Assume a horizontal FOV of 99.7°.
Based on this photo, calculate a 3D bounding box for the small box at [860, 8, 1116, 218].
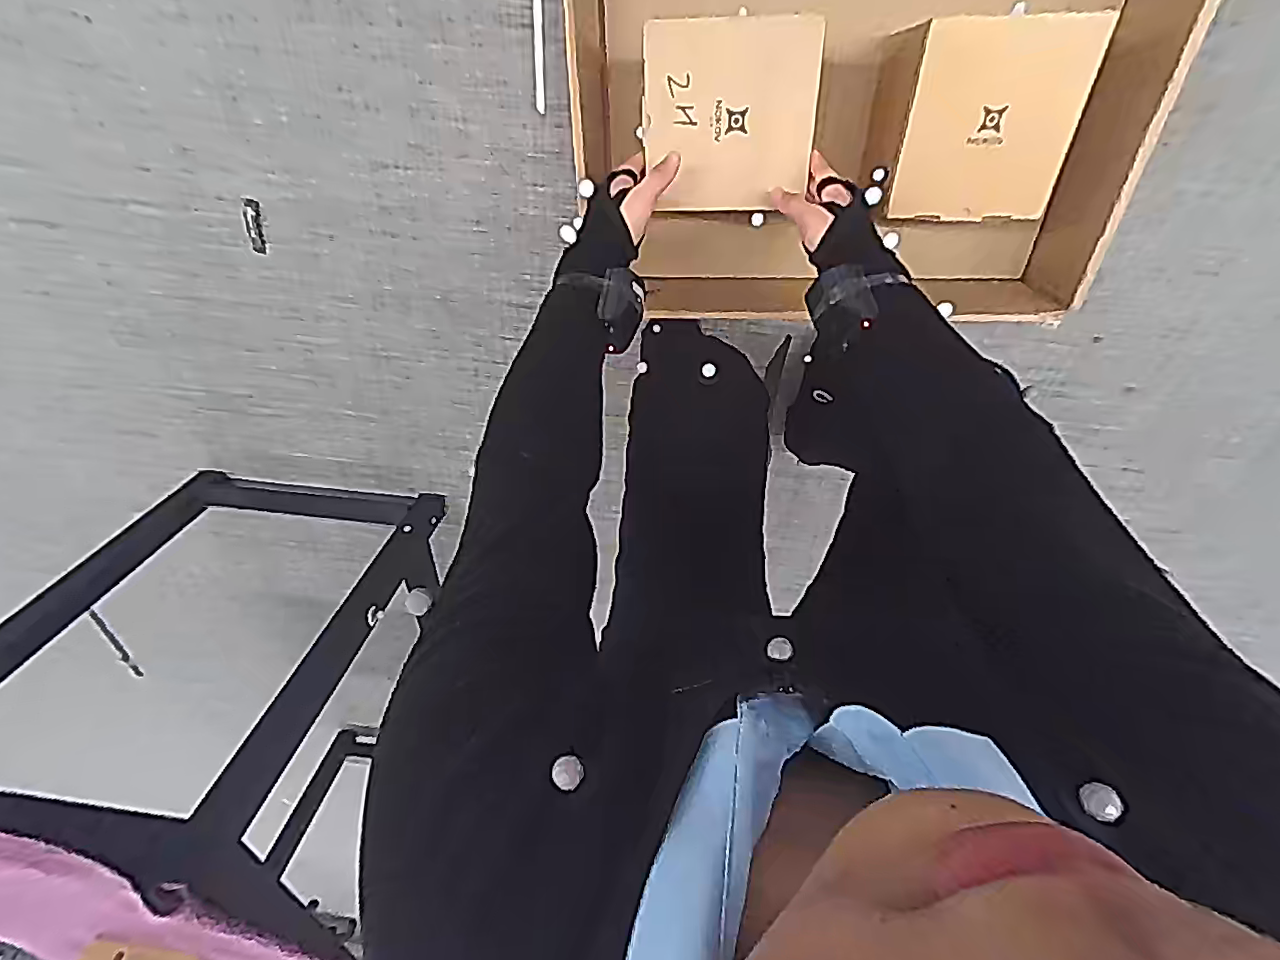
[{"bbox_3d":[0.364,-0.407,0.612,0.168,0.176,0.179,3,126,6],"label":"small box"}]

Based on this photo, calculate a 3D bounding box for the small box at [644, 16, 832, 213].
[{"bbox_3d":[0.097,-0.395,0.611,0.179,0.176,0.168,2,116,4],"label":"small box"}]
